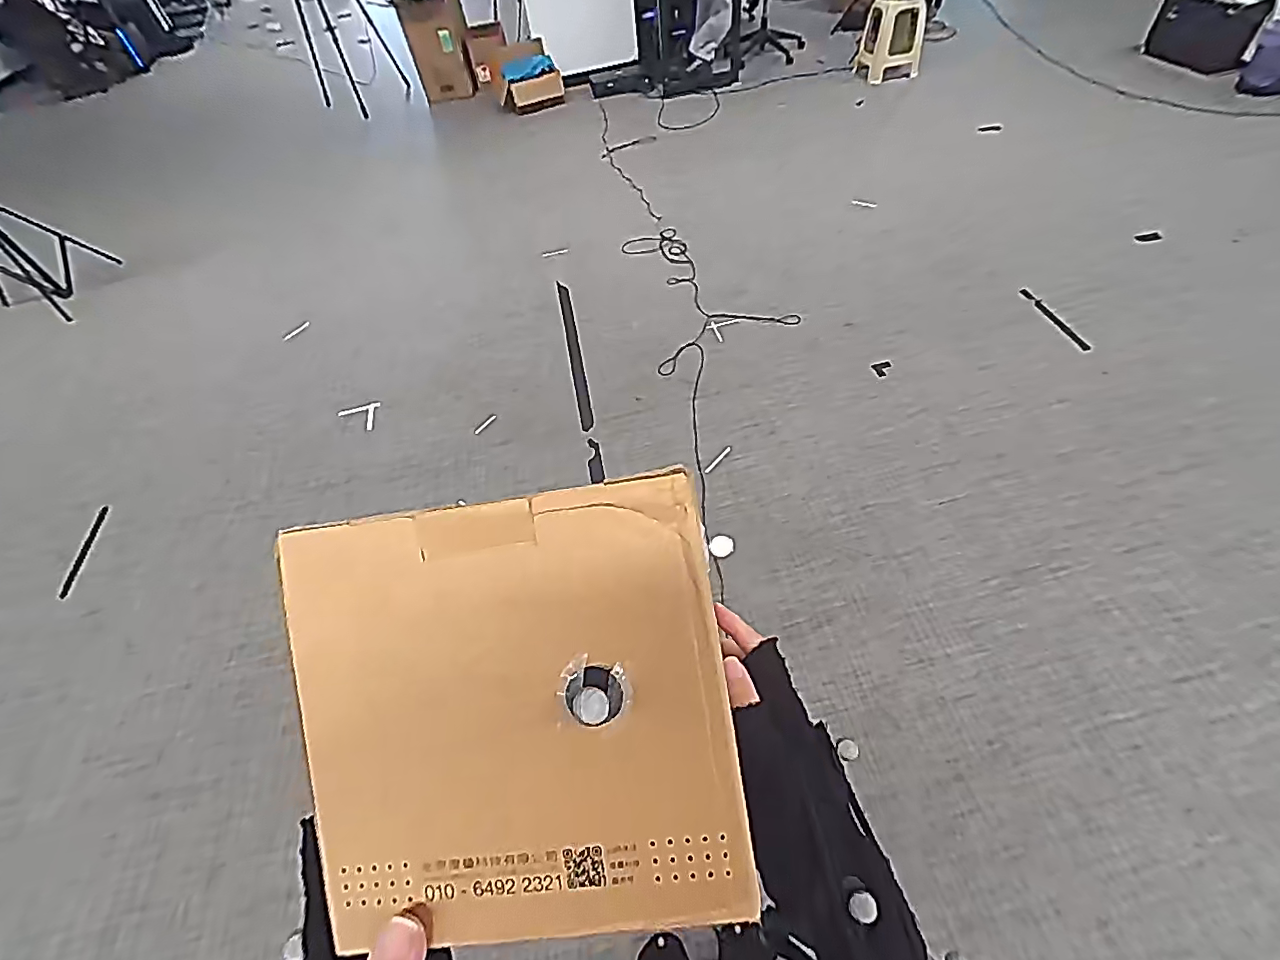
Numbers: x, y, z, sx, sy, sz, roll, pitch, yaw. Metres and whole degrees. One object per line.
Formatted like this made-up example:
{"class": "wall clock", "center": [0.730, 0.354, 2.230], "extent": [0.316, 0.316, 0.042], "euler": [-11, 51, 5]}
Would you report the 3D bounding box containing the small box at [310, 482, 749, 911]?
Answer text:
{"class": "small box", "center": [-0.038, 0.099, 0.302], "extent": [0.168, 0.179, 0.176], "euler": [-9, 89, 7]}
